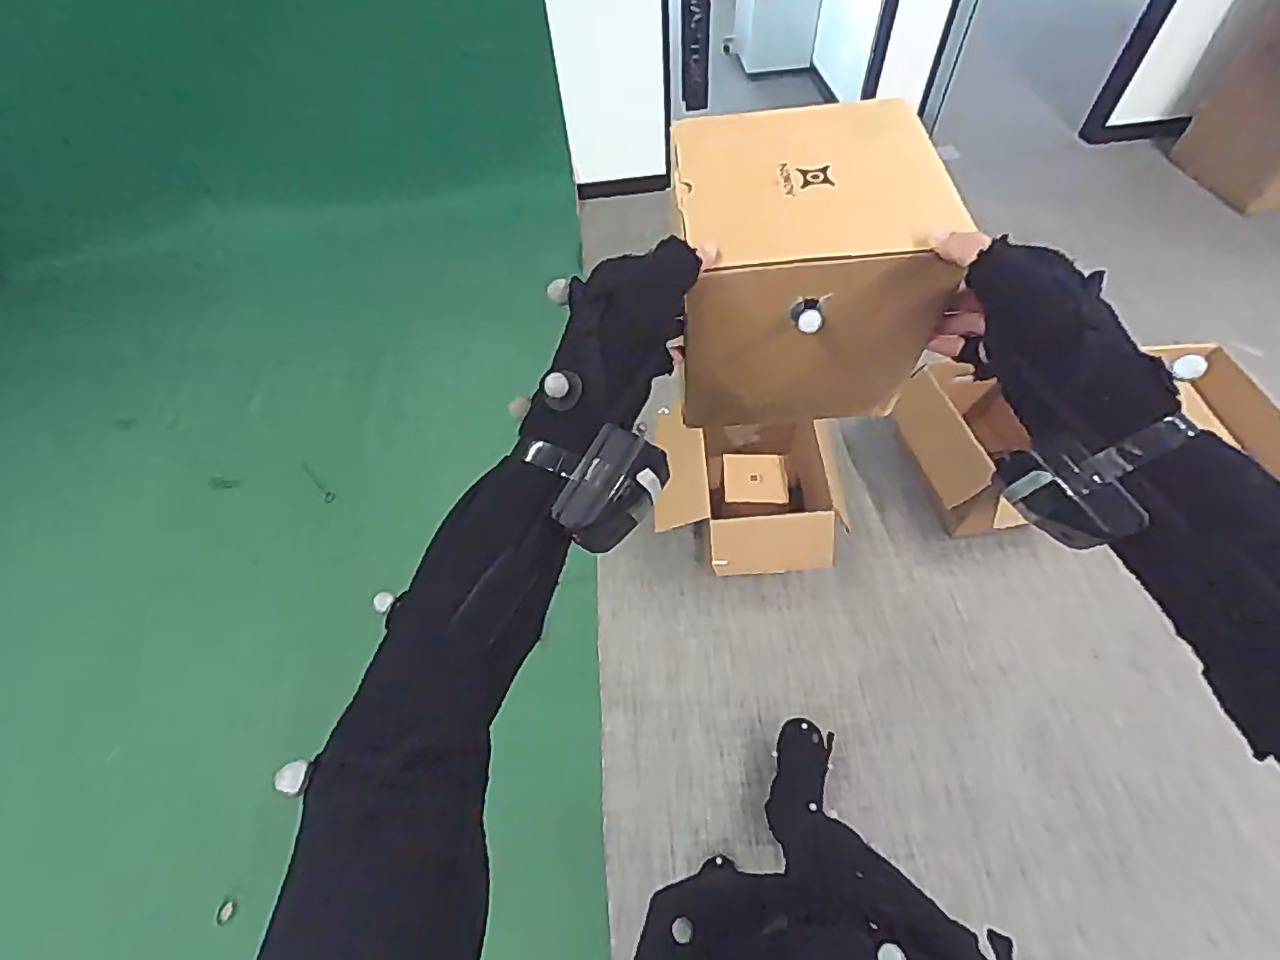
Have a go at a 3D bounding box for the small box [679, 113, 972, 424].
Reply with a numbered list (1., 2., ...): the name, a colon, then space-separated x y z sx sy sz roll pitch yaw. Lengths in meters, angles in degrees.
1. small box: 0.123 -0.162 0.445 0.179 0.176 0.168 -4 60 3
